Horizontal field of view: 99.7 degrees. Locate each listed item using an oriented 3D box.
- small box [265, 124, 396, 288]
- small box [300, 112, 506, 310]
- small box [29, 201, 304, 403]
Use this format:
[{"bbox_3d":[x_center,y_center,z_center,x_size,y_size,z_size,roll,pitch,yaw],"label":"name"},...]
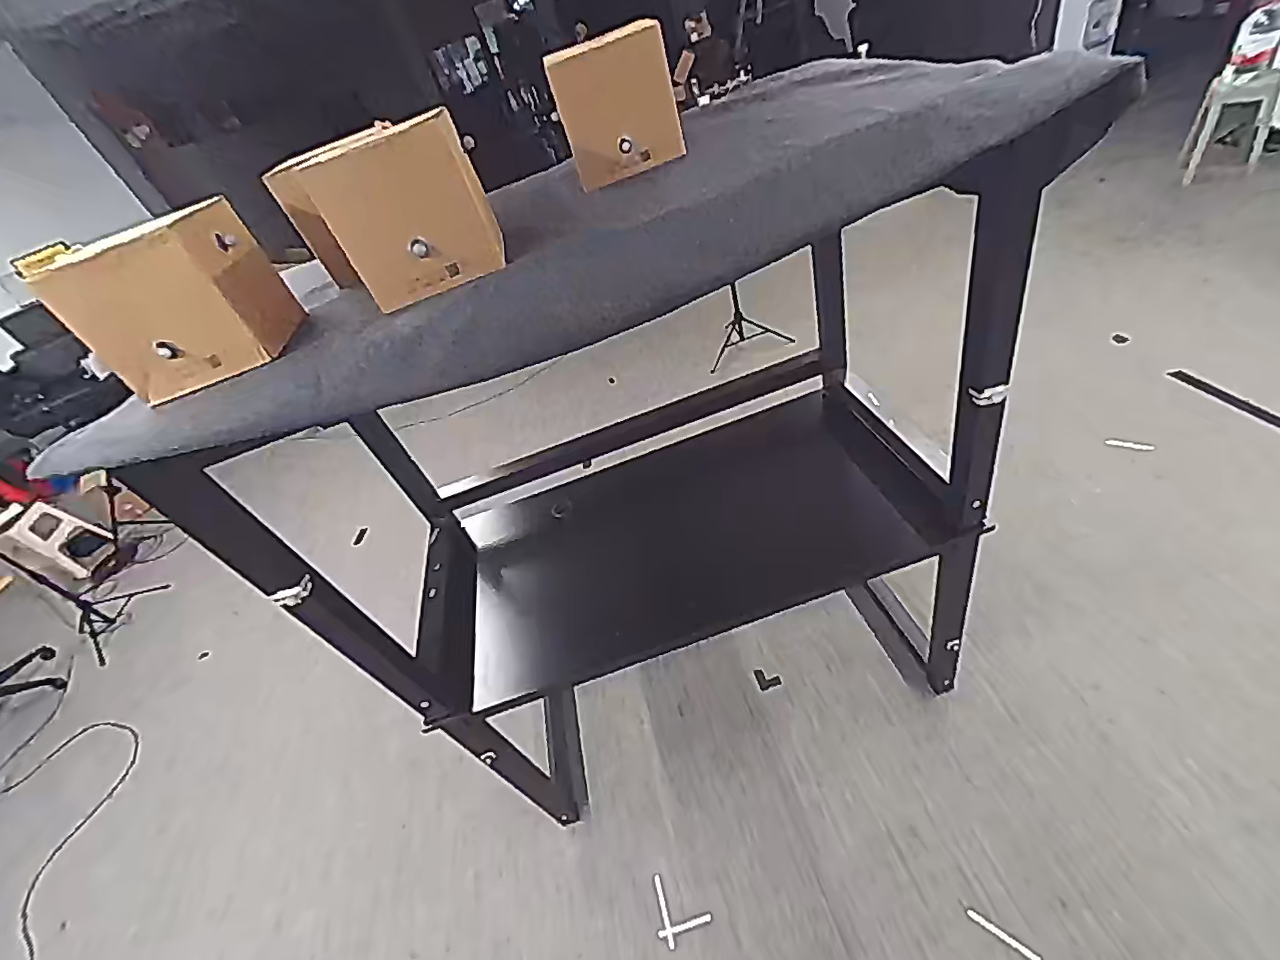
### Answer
[{"bbox_3d":[-0.434,-0.433,0.856,0.179,0.176,0.168,-22,40,-1],"label":"small box"},{"bbox_3d":[-0.282,-0.341,0.689,0.168,0.176,0.179,-21,40,0],"label":"small box"},{"bbox_3d":[-0.566,-0.225,0.683,0.168,0.176,0.179,-22,40,-1],"label":"small box"}]
